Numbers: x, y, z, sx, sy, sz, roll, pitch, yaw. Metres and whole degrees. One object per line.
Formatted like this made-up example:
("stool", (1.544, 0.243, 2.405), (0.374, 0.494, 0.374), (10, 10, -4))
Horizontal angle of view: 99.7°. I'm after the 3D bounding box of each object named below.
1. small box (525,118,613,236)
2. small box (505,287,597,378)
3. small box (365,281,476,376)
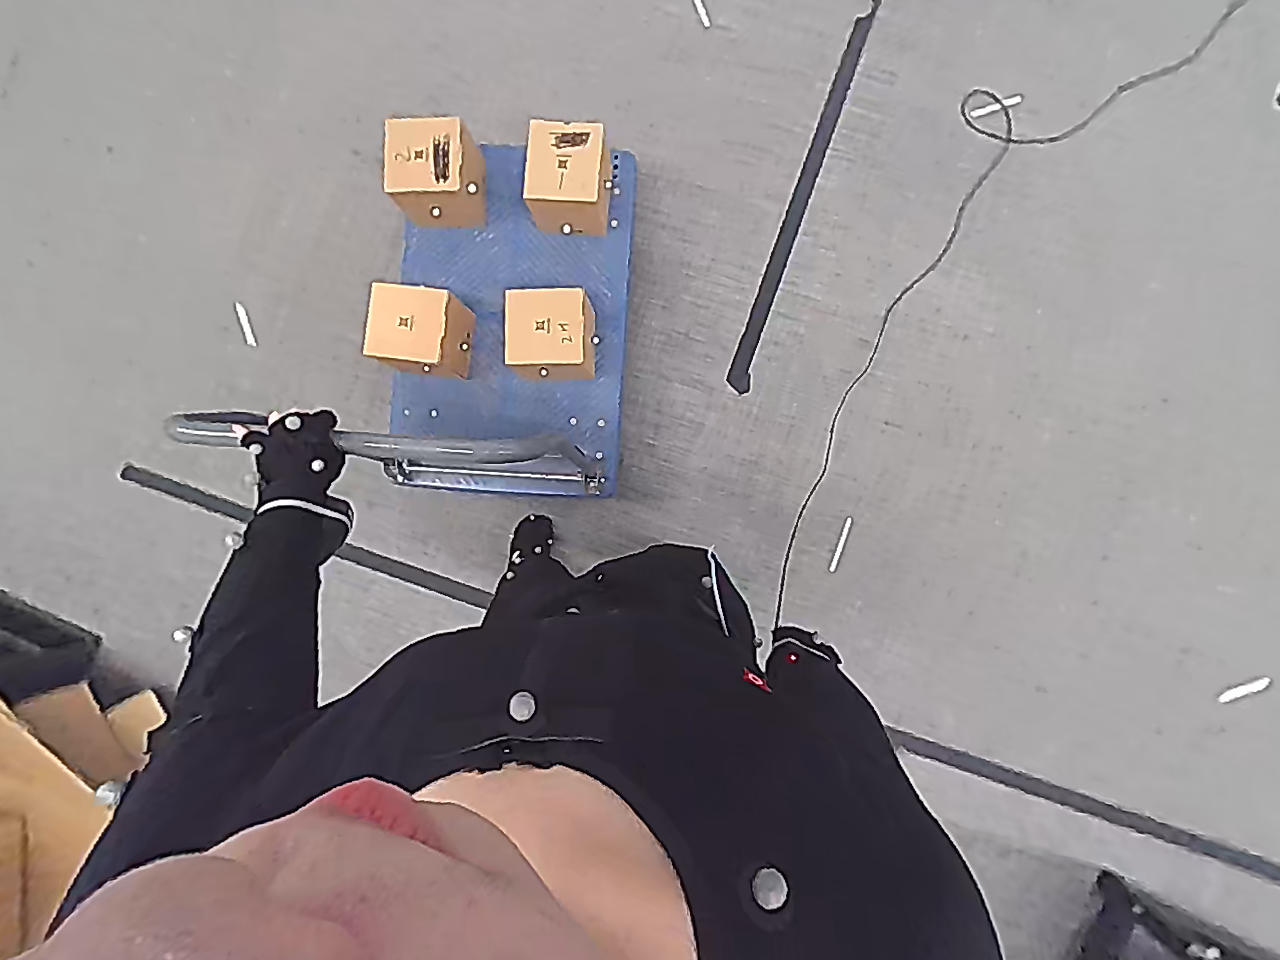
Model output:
("small box", (-0.158, -0.696, 1.255), (0.168, 0.176, 0.179), (5, 90, 4))
("small box", (-0.200, -0.334, 1.250), (0.179, 0.176, 0.168), (0, 89, 4))
("small box", (-0.508, -0.349, 1.270), (0.179, 0.176, 0.168), (7, 89, 2))
